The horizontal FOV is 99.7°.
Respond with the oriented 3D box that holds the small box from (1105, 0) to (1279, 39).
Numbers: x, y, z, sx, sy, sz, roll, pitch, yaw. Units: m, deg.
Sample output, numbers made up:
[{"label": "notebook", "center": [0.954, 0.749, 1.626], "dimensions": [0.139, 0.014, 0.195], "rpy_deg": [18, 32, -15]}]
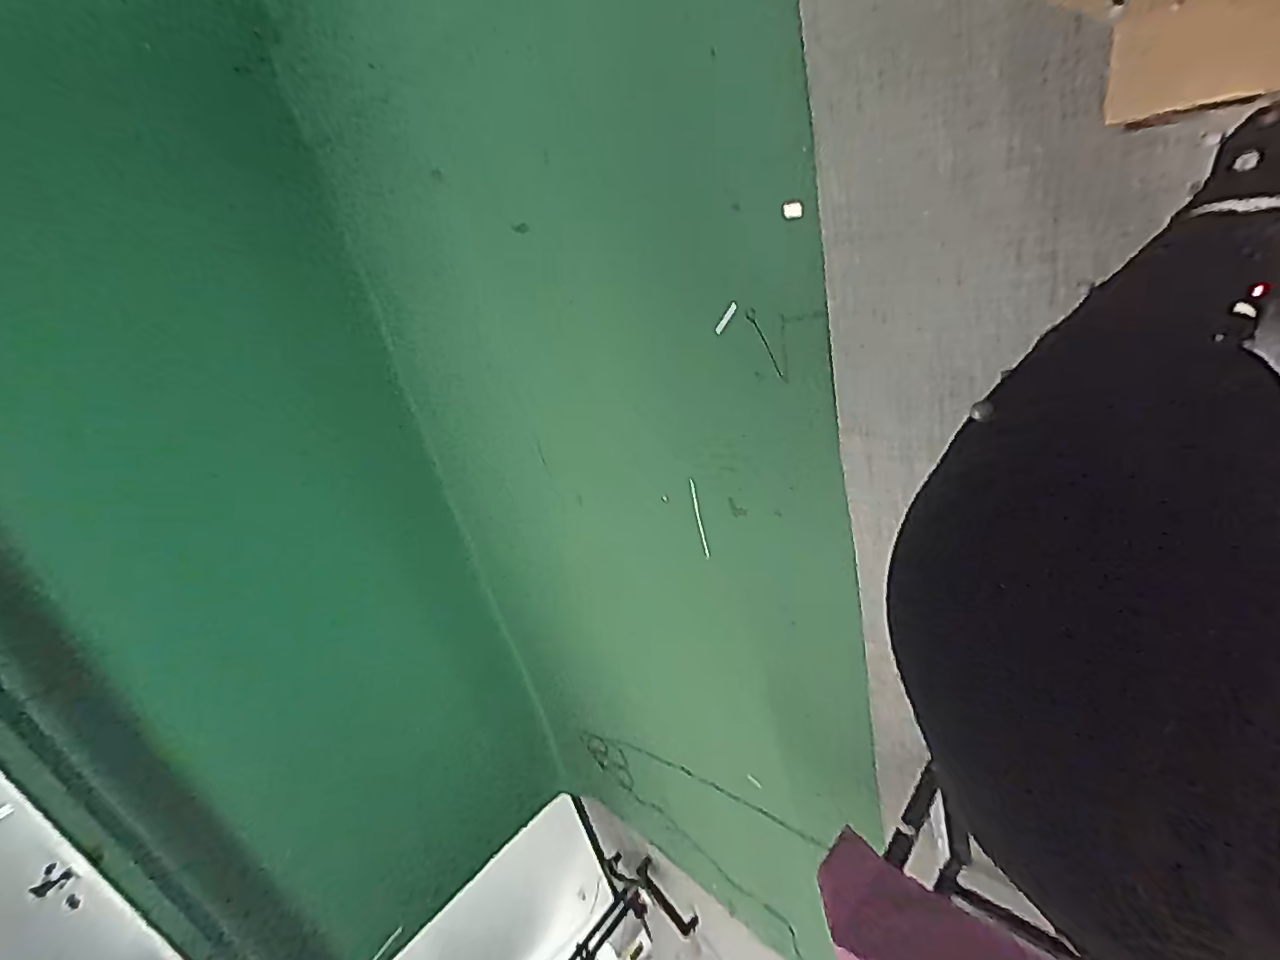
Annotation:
[{"label": "small box", "center": [0.642, -0.620, 0.587], "dimensions": [0.168, 0.176, 0.179], "rpy_deg": [17, 124, 43]}]
